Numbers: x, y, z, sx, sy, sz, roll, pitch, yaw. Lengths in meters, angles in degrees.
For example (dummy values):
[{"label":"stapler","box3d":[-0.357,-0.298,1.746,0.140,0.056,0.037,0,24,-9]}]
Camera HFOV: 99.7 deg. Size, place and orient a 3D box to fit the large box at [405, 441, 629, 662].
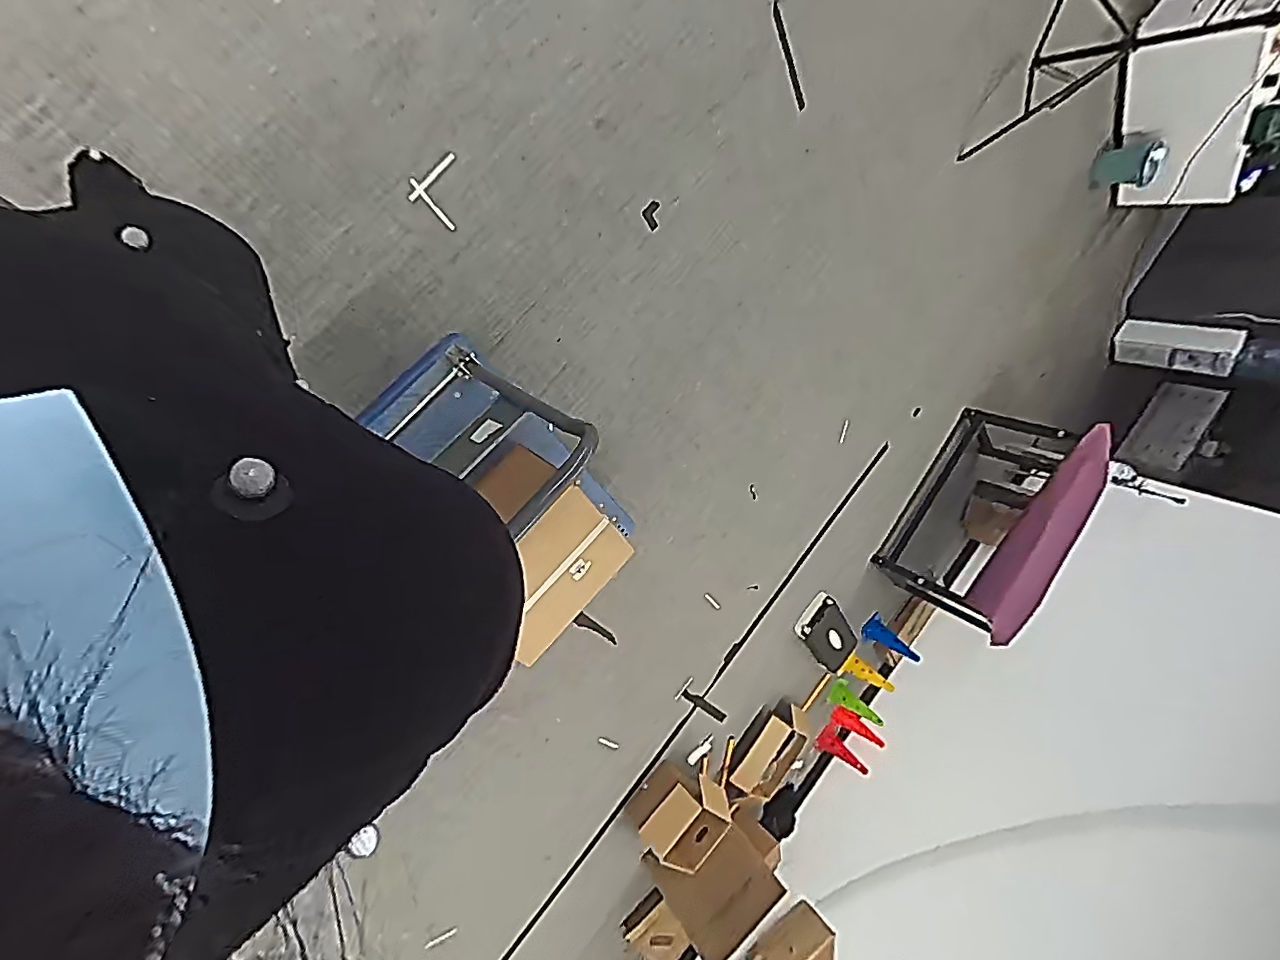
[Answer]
[{"label":"large box","box3d":[-0.314,0.171,1.391,0.408,0.320,0.320,-48,132,-12]}]
